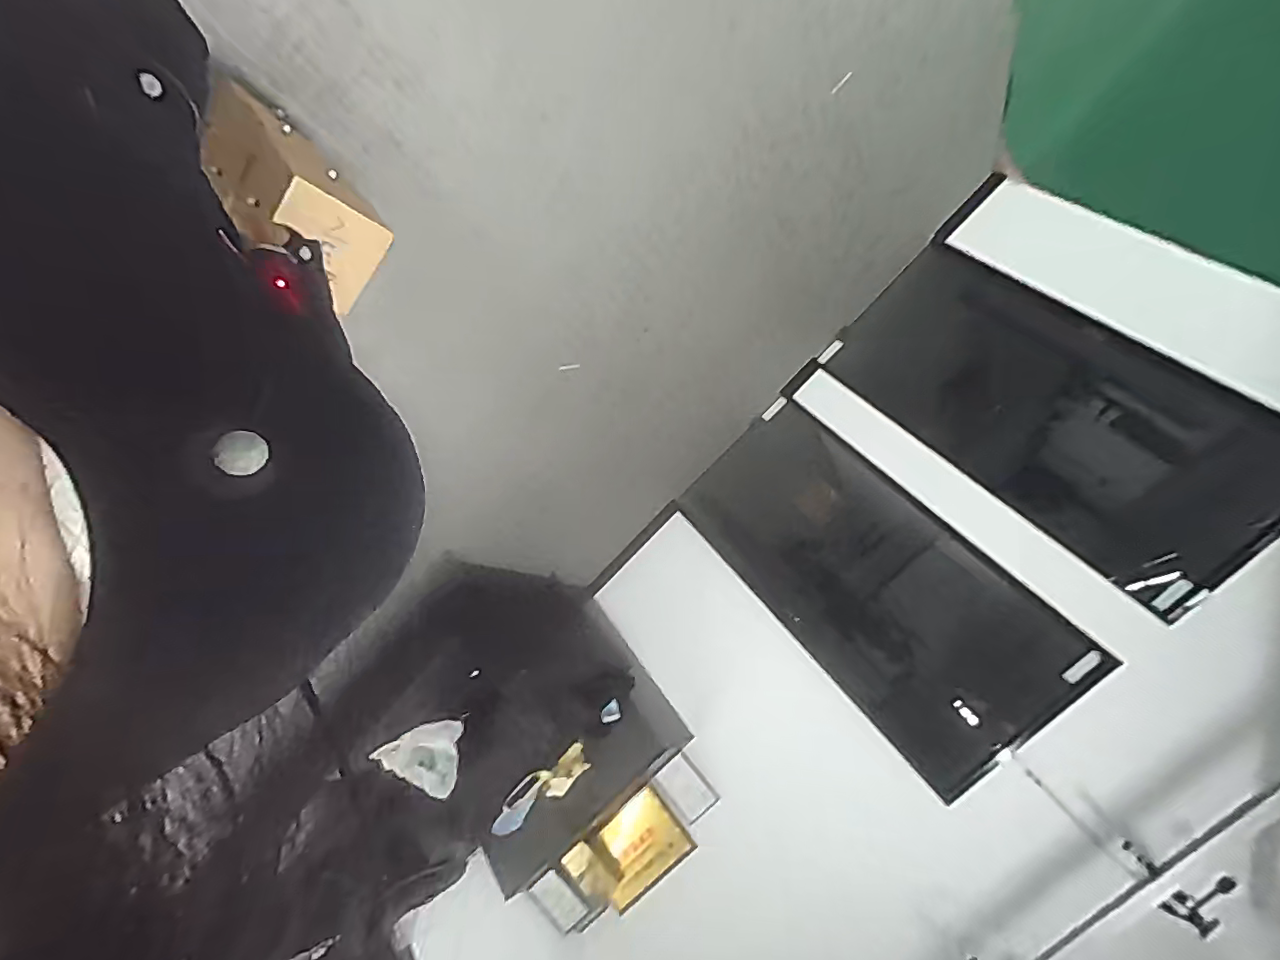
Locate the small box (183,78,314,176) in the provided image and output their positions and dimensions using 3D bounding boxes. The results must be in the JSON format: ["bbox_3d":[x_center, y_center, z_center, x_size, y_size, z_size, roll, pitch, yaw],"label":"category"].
[{"bbox_3d":[-0.760,-0.653,1.074,0.168,0.176,0.179,-46,151,10],"label":"small box"}]

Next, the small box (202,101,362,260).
[{"bbox_3d":[-0.660,-0.552,0.994,0.168,0.176,0.179,-46,152,13],"label":"small box"}]
